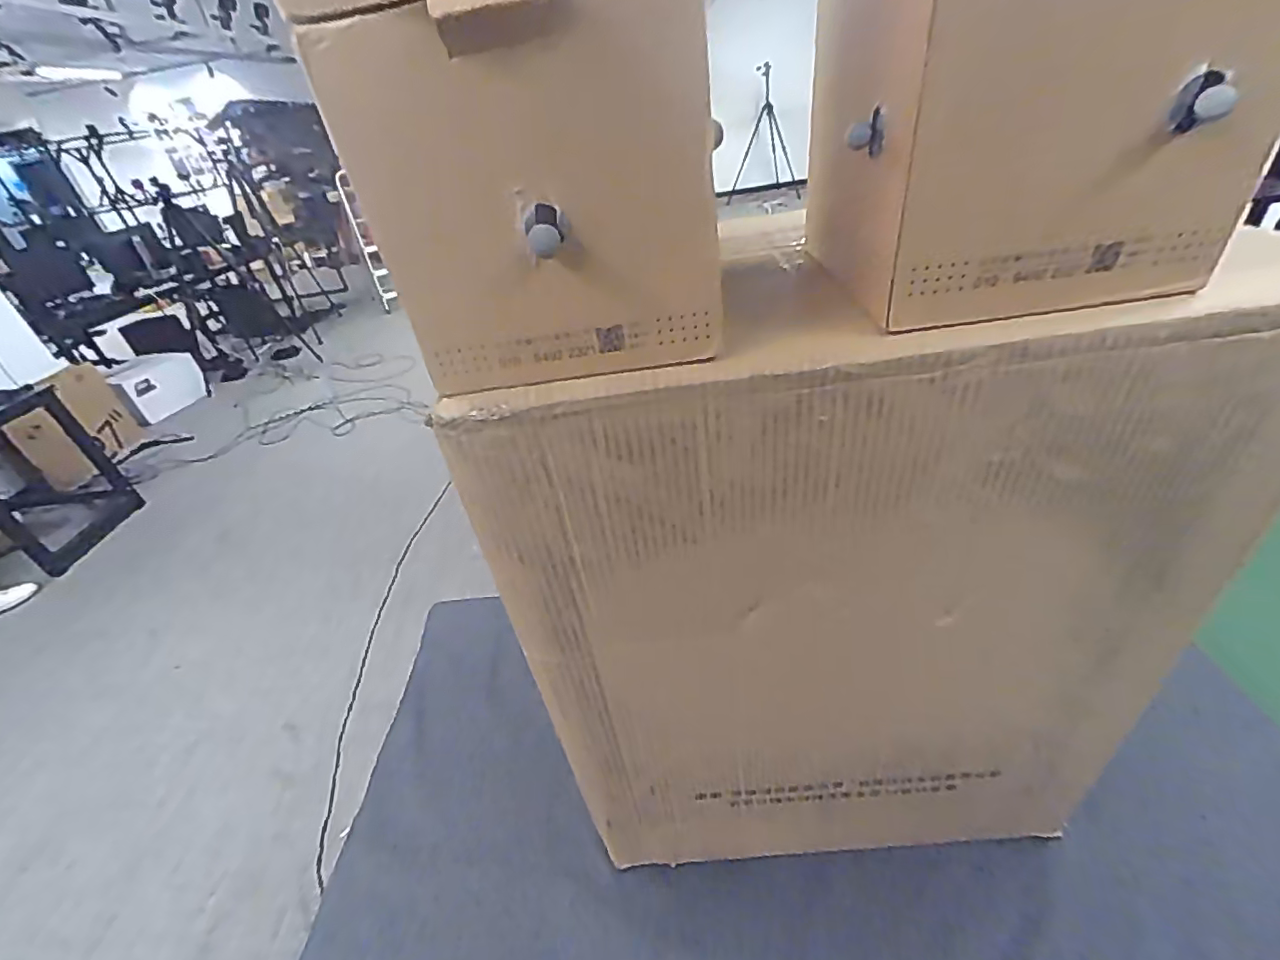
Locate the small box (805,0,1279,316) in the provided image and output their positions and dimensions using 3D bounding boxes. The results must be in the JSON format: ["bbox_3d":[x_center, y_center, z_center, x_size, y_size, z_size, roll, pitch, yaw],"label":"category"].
[{"bbox_3d":[0.199,-0.199,0.306,0.168,0.176,0.179,-5,36,3],"label":"small box"}]

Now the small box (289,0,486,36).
[{"bbox_3d":[-0.070,-0.306,0.229,0.179,0.176,0.168,-7,37,5],"label":"small box"}]

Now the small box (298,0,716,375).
[{"bbox_3d":[-0.047,-0.173,0.324,0.168,0.176,0.179,-6,38,5],"label":"small box"}]
